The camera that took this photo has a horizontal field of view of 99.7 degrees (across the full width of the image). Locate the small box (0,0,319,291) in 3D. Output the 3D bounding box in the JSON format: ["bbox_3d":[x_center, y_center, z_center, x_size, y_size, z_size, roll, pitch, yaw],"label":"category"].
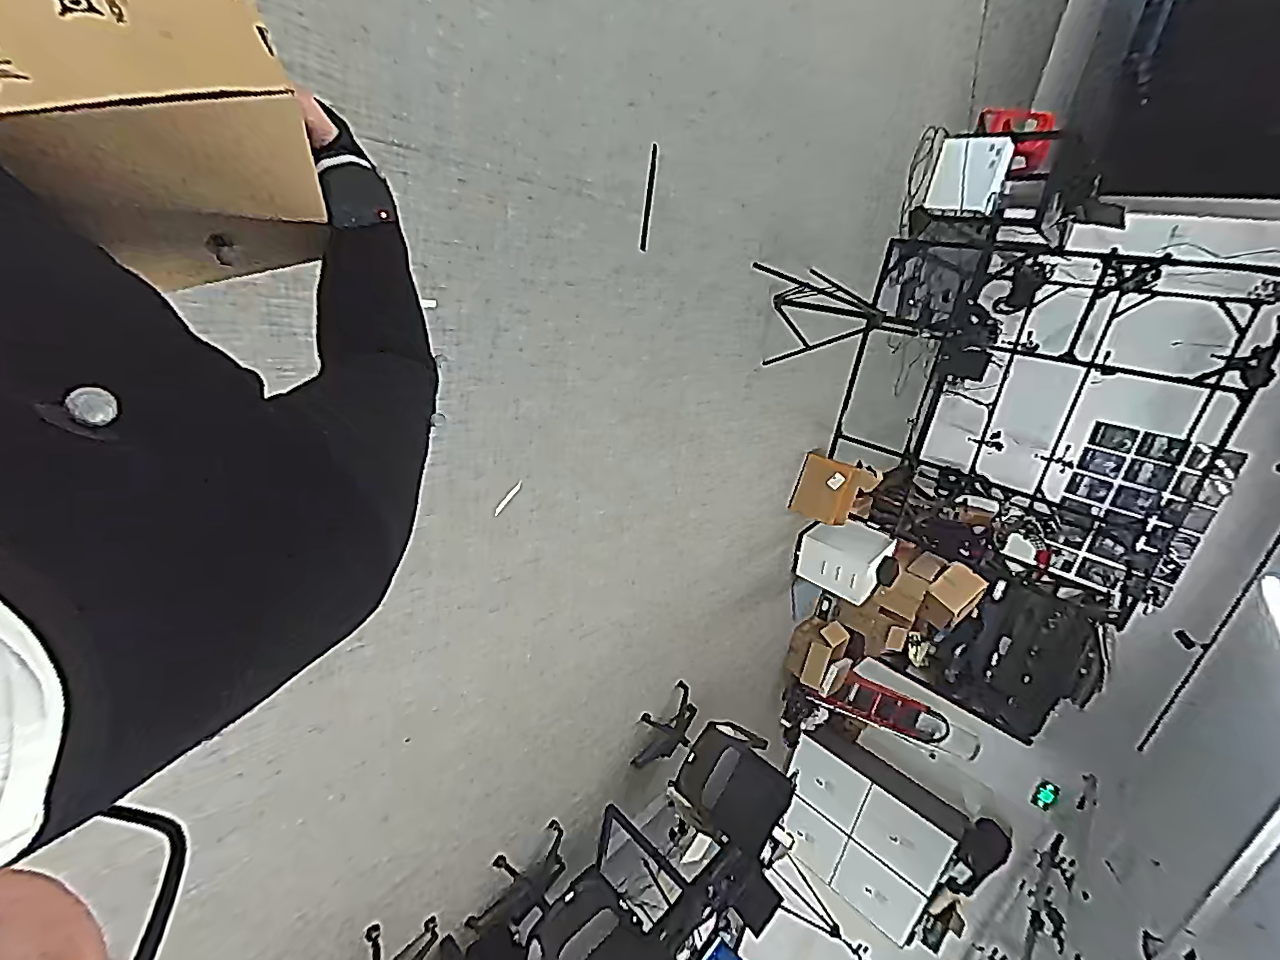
[{"bbox_3d":[-0.385,-0.283,0.436,0.179,0.168,0.176,-27,171,-27],"label":"small box"}]
